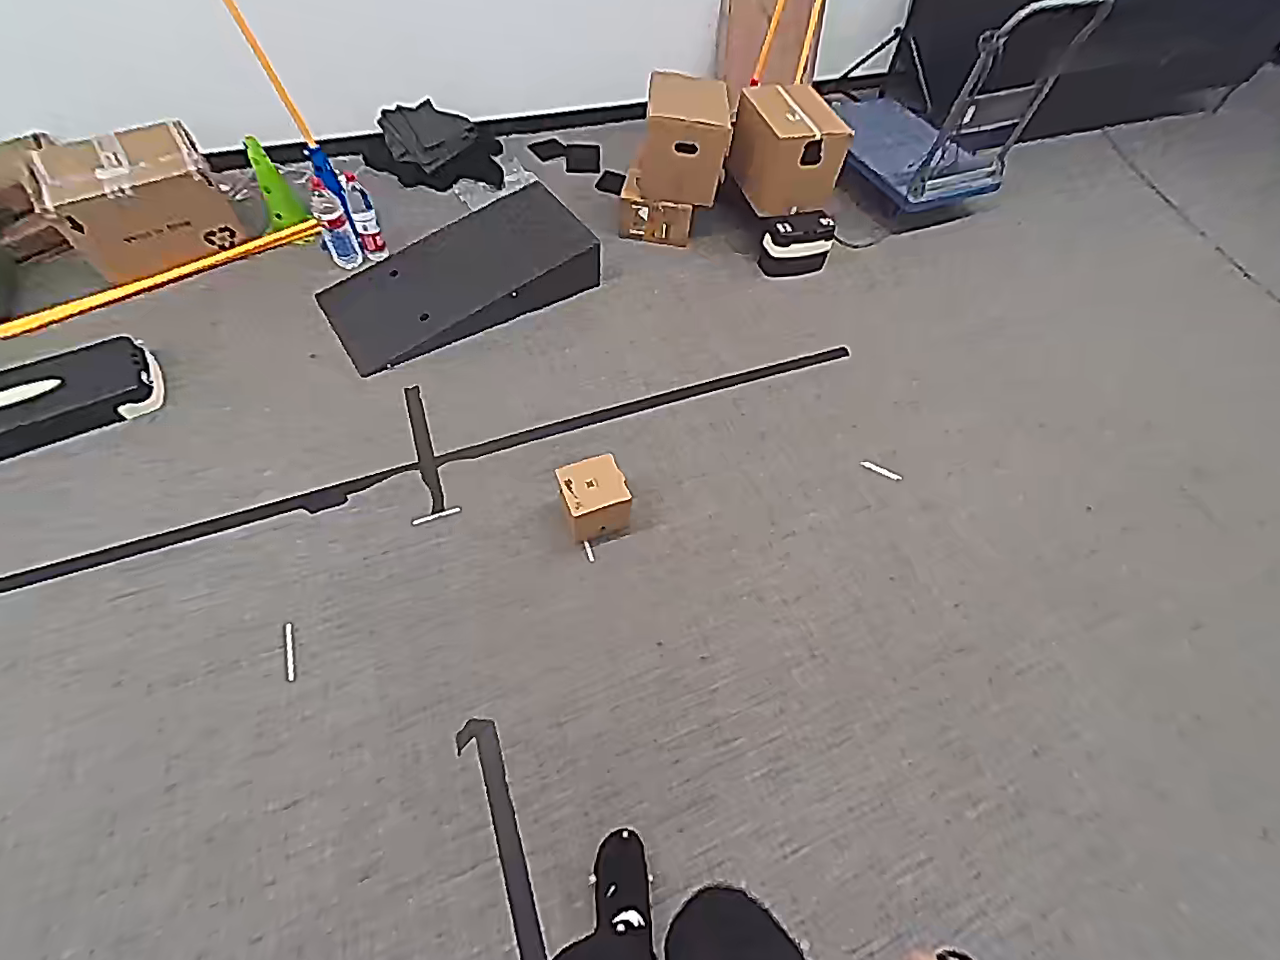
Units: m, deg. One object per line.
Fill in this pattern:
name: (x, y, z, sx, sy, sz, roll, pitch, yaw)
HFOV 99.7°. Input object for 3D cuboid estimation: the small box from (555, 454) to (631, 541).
small box: (-0.139, 0.054, 1.570, 0.179, 0.176, 0.168, -17, 60, -16)
